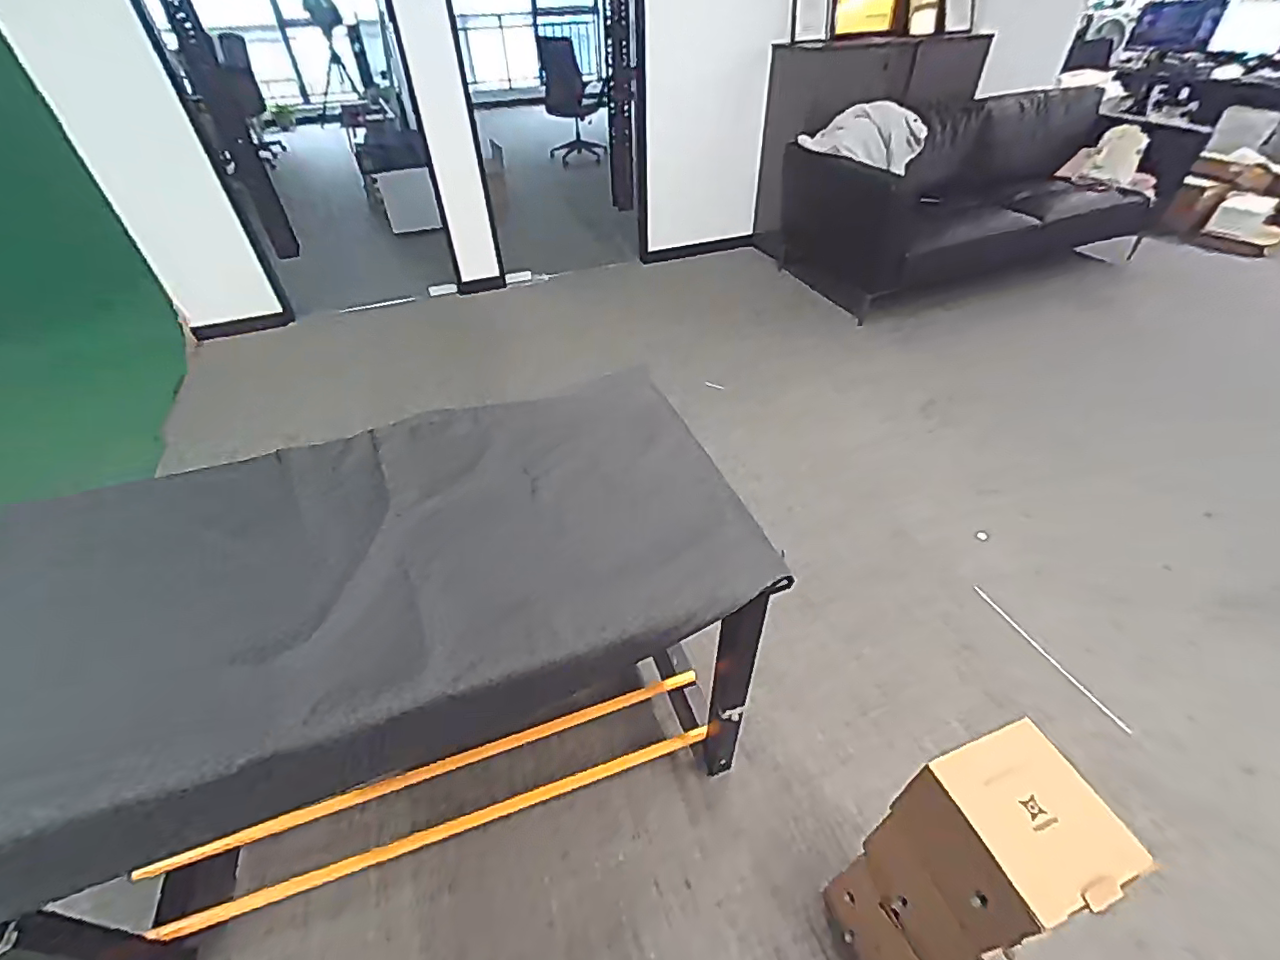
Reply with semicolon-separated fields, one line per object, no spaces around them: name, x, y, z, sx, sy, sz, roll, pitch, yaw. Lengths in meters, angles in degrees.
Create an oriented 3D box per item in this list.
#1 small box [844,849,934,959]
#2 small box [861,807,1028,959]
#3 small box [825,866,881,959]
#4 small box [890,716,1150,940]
small box;0.461;0.691;0.893;0.179;0.176;0.168;-15;44;-15
small box;0.459;0.565;0.787;0.168;0.176;0.179;-13;45;-15
small box;0.474;0.807;1.008;0.179;0.176;0.168;-13;43;-14
small box;0.456;0.441;0.683;0.168;0.176;0.179;-15;43;-15
